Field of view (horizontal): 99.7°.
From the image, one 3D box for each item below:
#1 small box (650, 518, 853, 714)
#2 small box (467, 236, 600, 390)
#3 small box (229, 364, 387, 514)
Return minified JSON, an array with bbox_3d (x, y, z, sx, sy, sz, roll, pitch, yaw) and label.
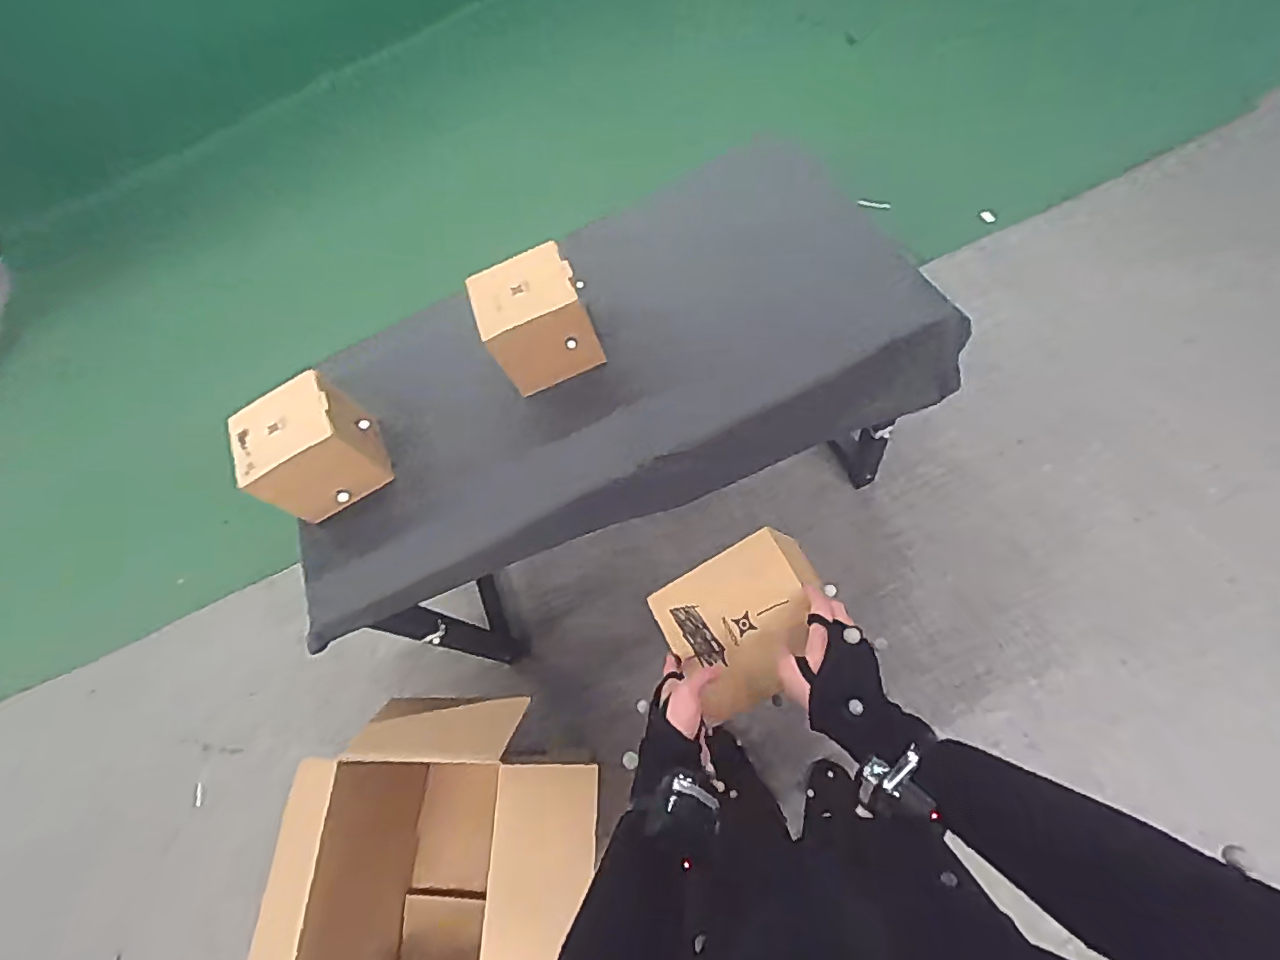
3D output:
[{"bbox_3d":[0.146,0.170,0.682,0.179,0.176,0.168,-33,67,16],"label":"small box"},{"bbox_3d":[-0.184,-0.297,0.985,0.179,0.176,0.168,-24,61,3],"label":"small box"},{"bbox_3d":[-0.585,-0.067,0.974,0.179,0.176,0.168,-30,62,-2],"label":"small box"}]
